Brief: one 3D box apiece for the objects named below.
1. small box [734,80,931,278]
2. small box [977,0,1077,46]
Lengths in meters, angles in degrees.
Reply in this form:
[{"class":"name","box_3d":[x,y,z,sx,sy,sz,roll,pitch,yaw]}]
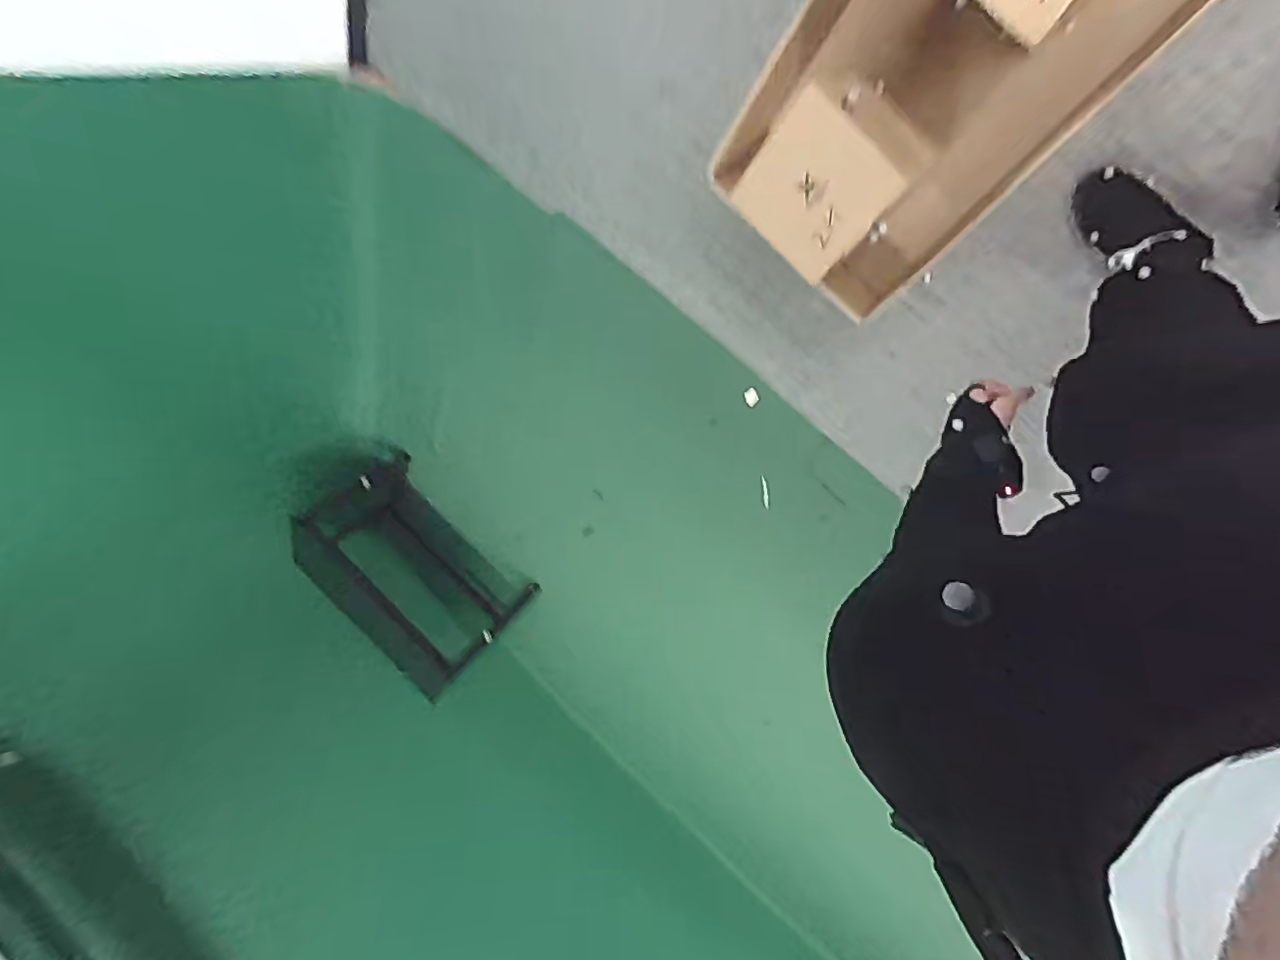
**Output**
[{"class":"small box","box_3d":[0.273,-0.425,0.765,0.179,0.176,0.168,45,139,1]},{"class":"small box","box_3d":[0.408,-0.578,0.537,0.179,0.176,0.168,45,138,2]}]
